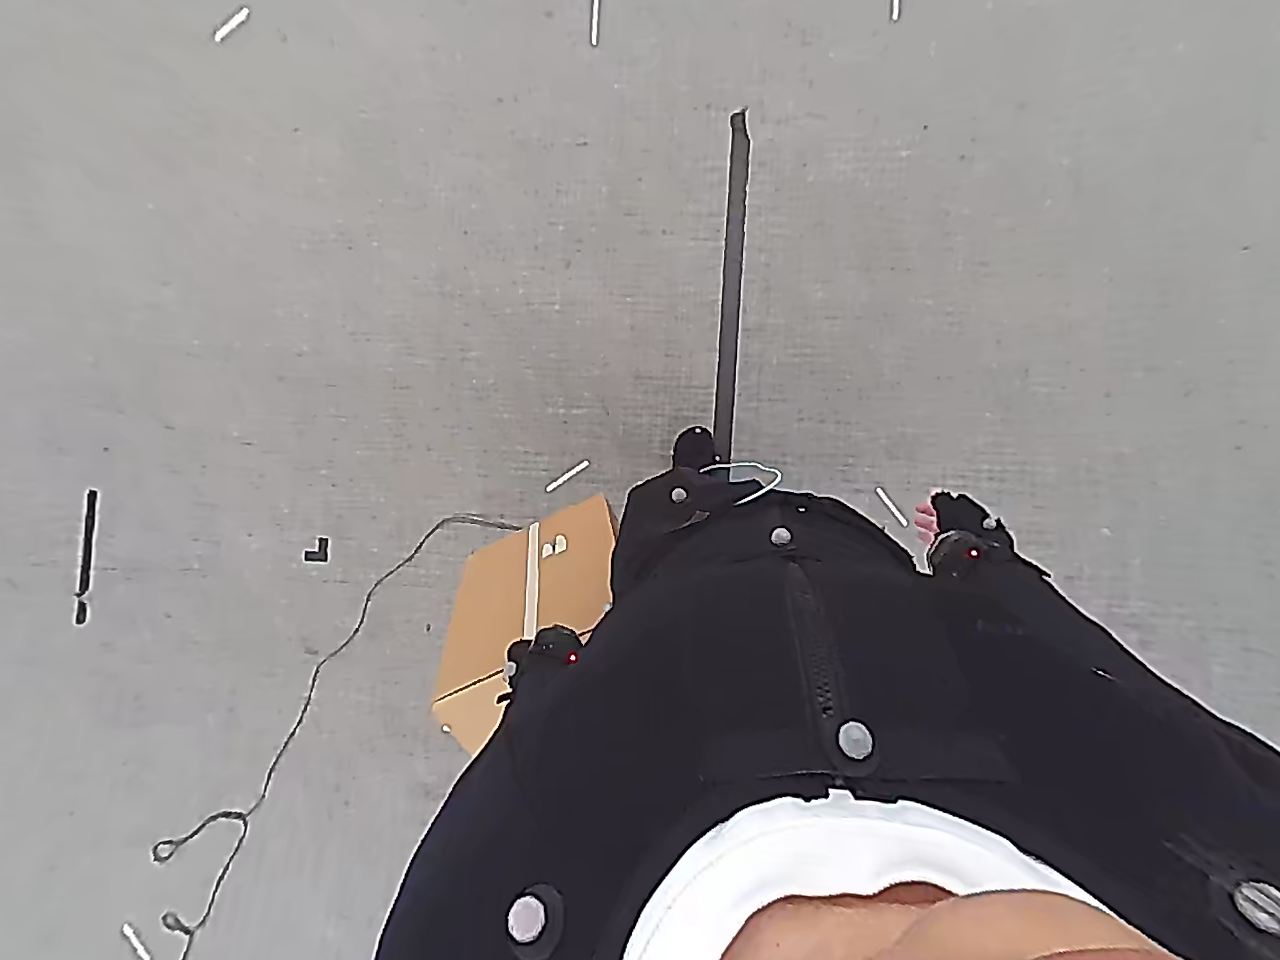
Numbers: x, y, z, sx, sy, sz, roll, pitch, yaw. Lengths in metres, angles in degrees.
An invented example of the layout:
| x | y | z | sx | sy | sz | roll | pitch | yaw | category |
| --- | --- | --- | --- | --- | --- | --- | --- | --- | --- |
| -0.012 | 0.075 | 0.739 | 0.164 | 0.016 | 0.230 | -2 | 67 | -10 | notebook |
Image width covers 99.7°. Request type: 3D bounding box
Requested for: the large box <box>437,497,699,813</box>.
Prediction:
| x | y | z | sx | sy | sz | roll | pitch | yaw | category |
| --- | --- | --- | --- | --- | --- | --- | --- | --- | --- |
| -0.124 | 0.295 | 1.005 | 0.320 | 0.408 | 0.320 | -24 | 113 | 2 | large box |
